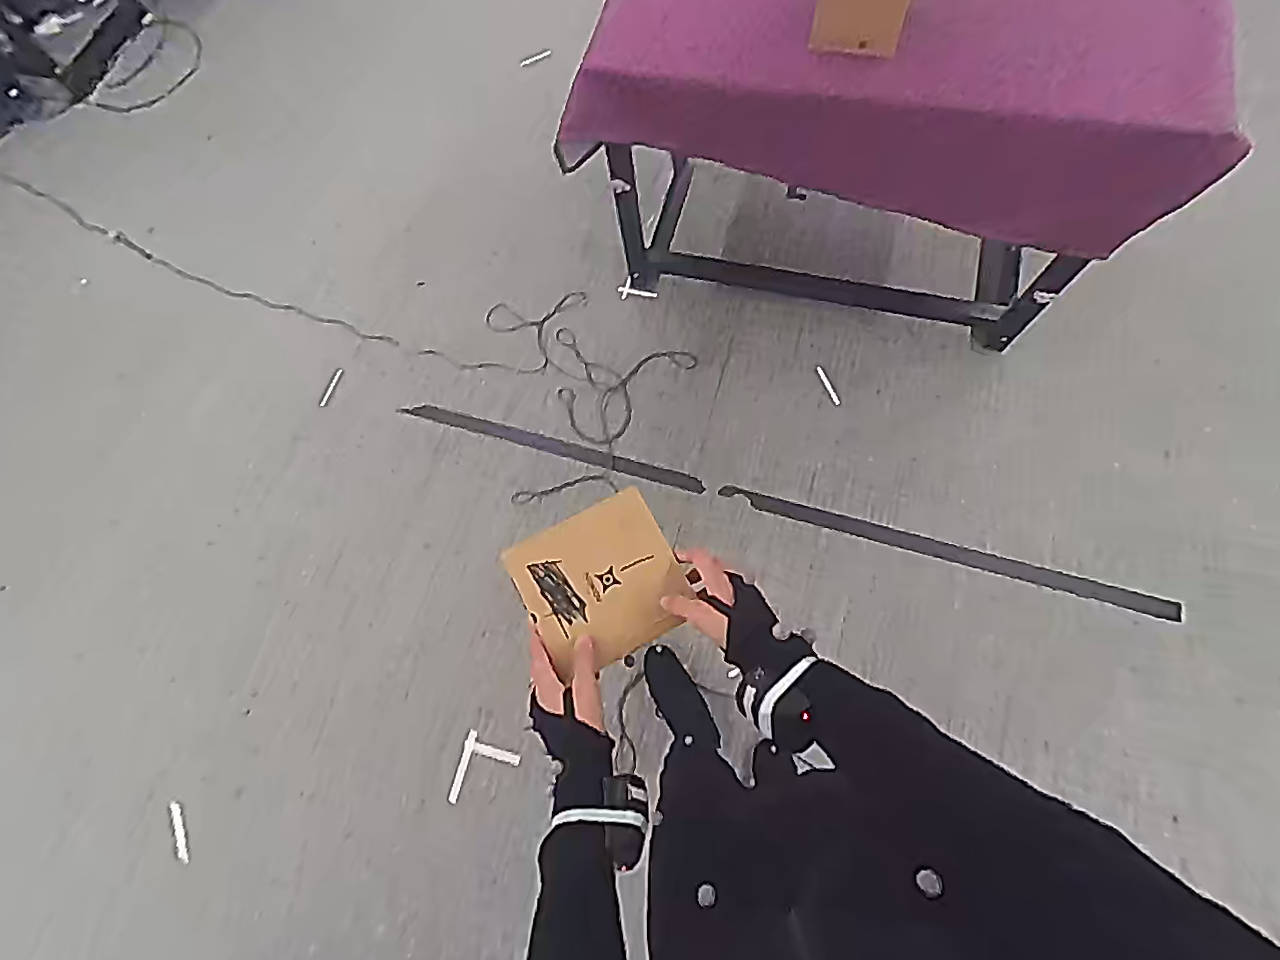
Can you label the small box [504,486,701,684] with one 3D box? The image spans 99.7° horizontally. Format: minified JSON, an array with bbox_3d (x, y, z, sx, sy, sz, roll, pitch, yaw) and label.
[{"bbox_3d":[-0.041,0.135,0.678,0.179,0.176,0.168,-27,75,-8],"label":"small box"}]
